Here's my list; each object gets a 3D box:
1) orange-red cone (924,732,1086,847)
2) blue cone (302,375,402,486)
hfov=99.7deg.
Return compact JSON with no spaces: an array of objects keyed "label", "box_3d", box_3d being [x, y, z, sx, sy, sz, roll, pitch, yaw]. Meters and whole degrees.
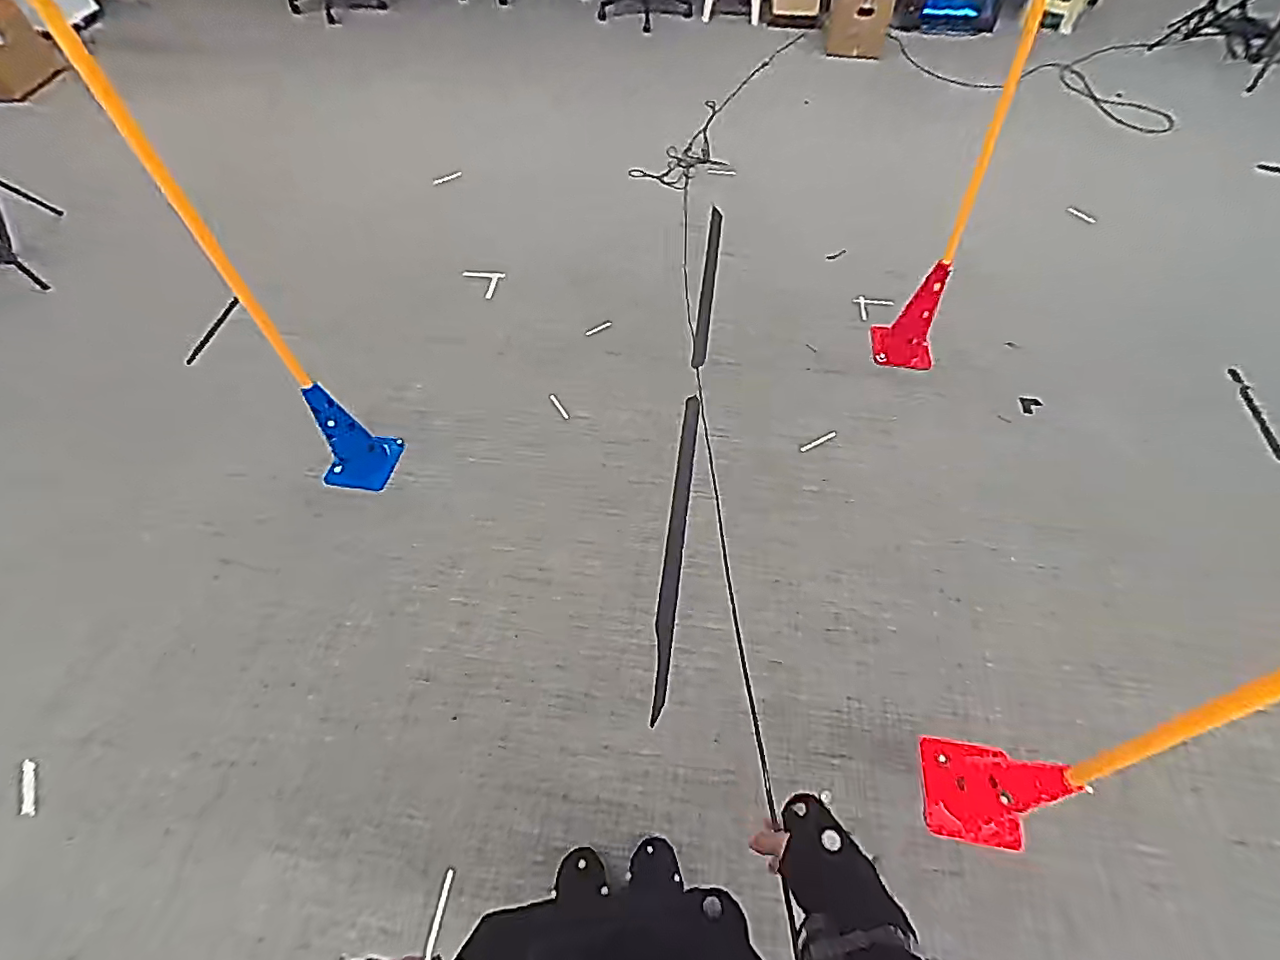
[{"label":"orange-red cone","box_3d":[0.732,0.588,1.052,0.198,0.360,0.199,9,59,7]},{"label":"blue cone","box_3d":[-0.874,-0.156,1.577,0.193,0.380,0.192,9,57,6]}]
